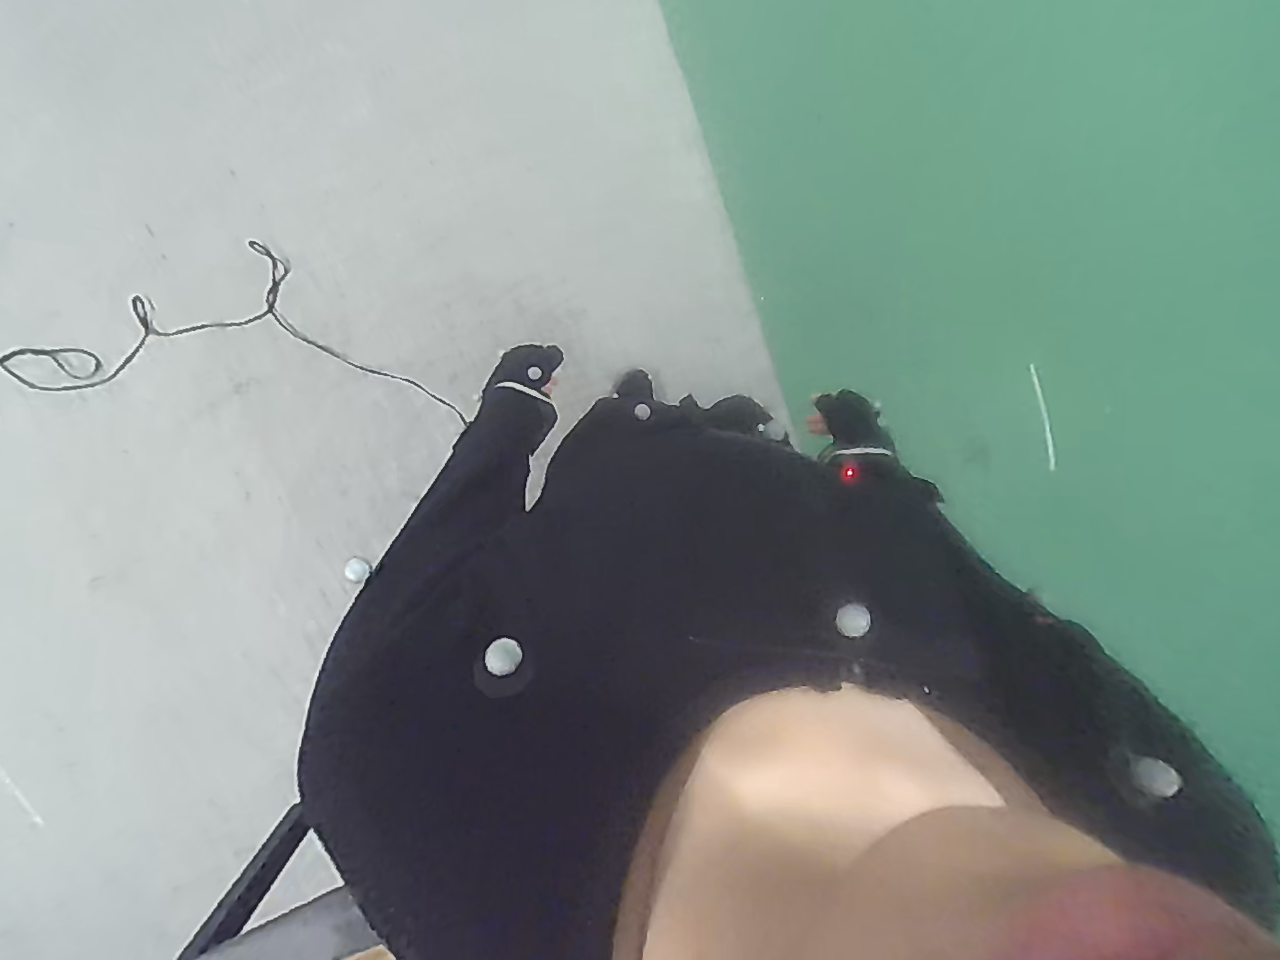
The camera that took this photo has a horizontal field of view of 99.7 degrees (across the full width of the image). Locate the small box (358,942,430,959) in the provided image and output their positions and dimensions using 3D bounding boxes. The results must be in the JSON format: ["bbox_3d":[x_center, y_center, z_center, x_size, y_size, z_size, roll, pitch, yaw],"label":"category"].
[{"bbox_3d":[-0.392,0.849,0.799,0.168,0.176,0.179,-23,102,1],"label":"small box"}]
